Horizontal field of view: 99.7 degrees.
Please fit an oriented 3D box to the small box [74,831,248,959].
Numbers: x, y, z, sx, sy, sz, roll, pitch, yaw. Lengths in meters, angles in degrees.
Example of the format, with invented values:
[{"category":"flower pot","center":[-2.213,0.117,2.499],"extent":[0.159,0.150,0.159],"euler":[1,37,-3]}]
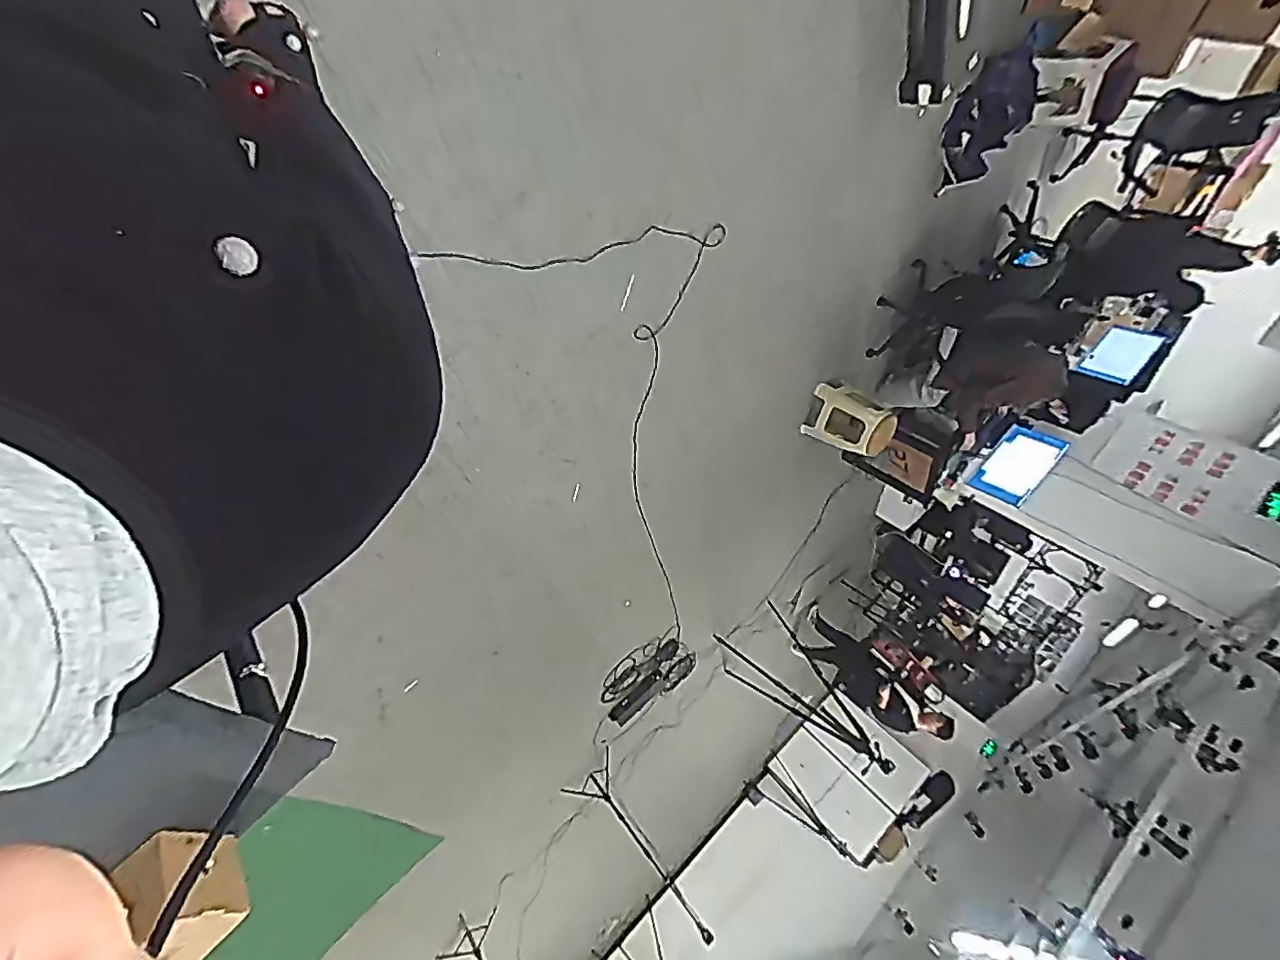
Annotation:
[{"category":"small box","center":[-0.885,0.787,0.998],"extent":[0.179,0.176,0.168],"euler":[-44,144,-14]}]
